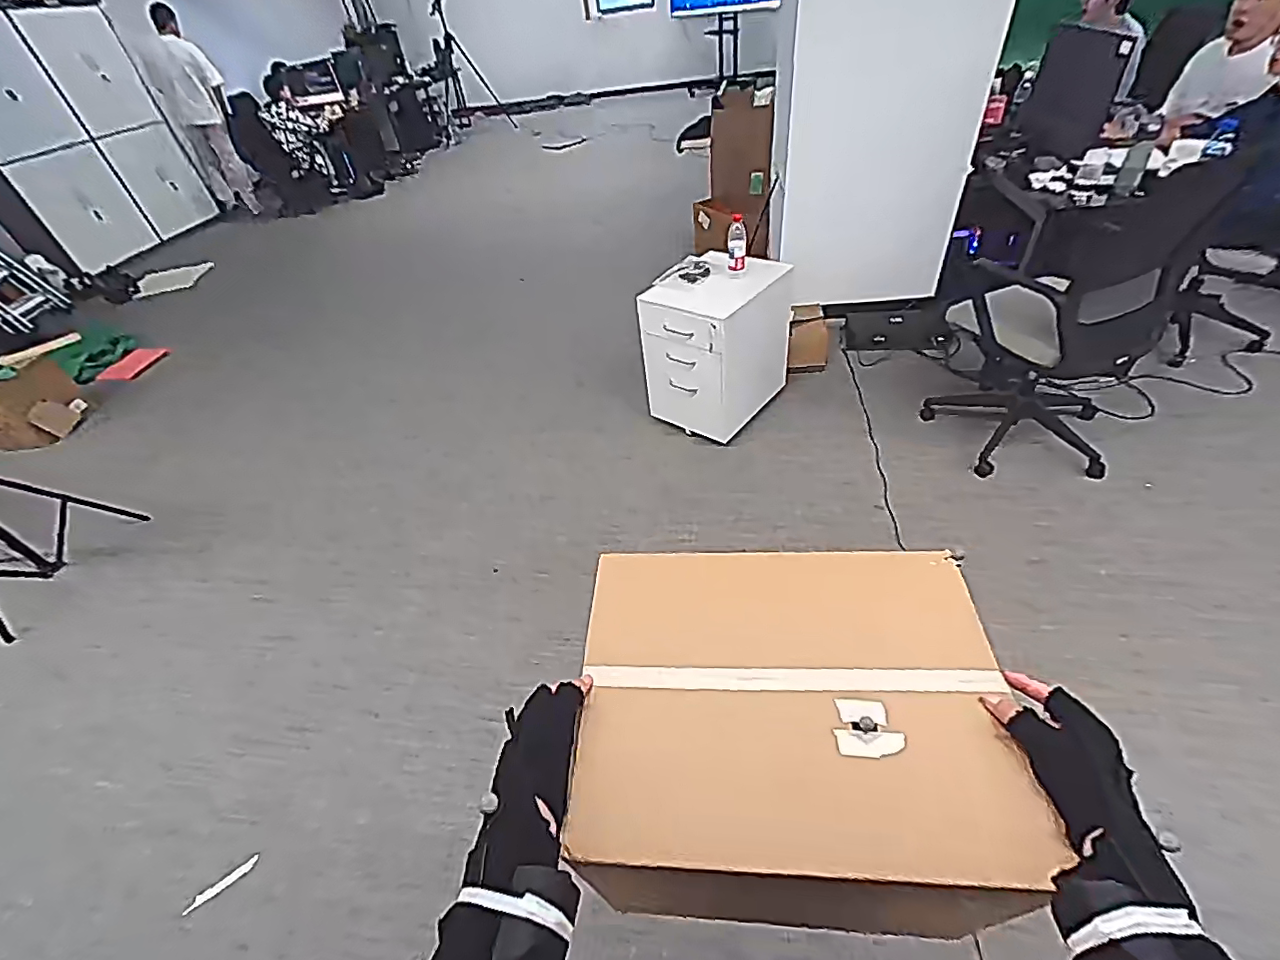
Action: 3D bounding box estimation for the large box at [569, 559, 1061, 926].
[{"bbox_3d":[0.156,0.312,0.650,0.408,0.320,0.320,-2,46,7],"label":"large box"}]
